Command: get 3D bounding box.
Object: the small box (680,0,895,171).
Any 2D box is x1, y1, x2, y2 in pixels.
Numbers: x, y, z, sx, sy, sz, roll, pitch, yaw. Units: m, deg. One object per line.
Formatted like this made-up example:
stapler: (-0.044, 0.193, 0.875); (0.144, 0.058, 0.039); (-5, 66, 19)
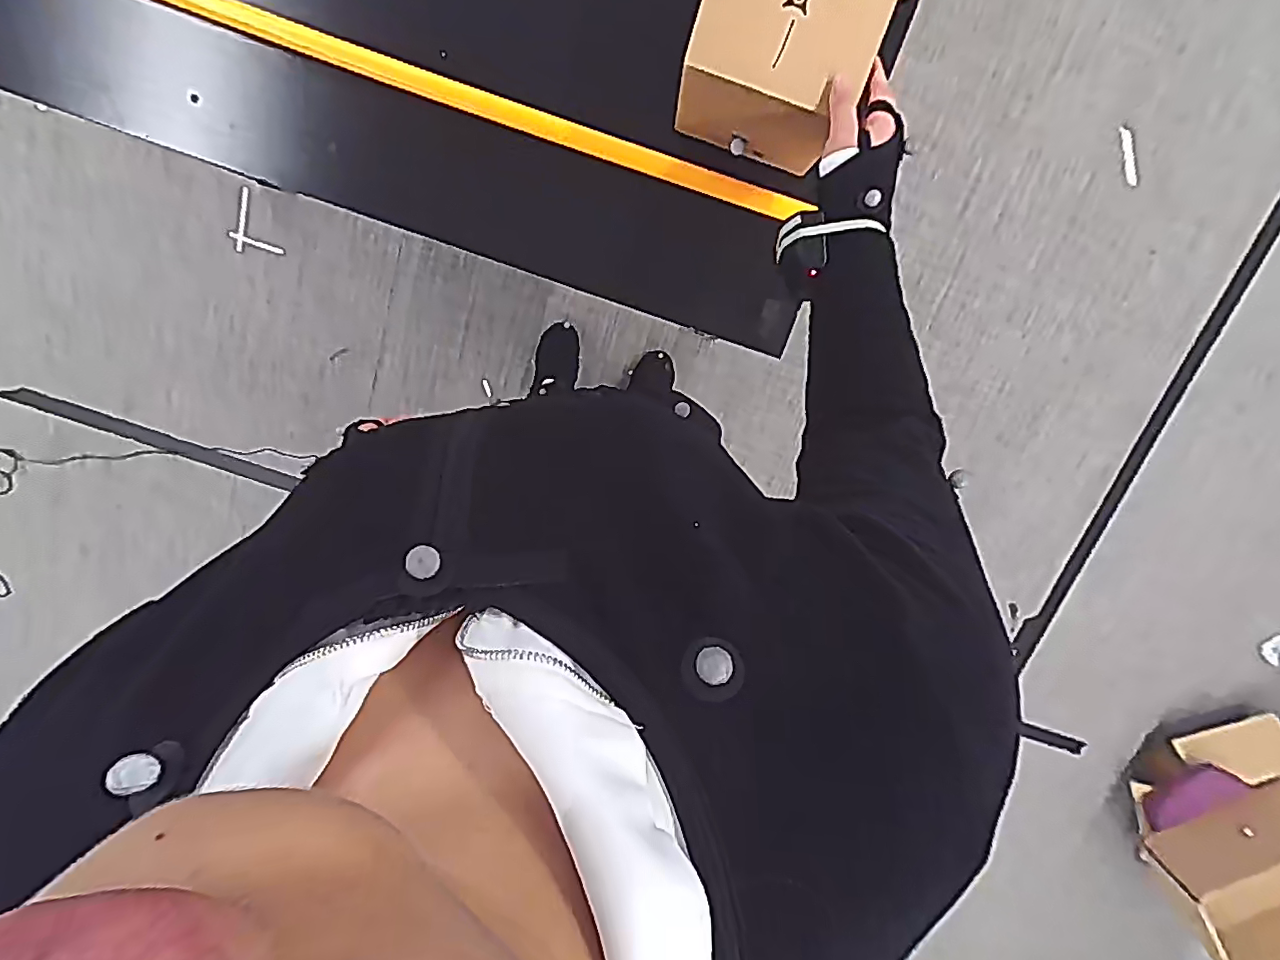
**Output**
small box: (0.145, -0.456, 0.556); (0.168, 0.176, 0.179); (18, 104, -4)
